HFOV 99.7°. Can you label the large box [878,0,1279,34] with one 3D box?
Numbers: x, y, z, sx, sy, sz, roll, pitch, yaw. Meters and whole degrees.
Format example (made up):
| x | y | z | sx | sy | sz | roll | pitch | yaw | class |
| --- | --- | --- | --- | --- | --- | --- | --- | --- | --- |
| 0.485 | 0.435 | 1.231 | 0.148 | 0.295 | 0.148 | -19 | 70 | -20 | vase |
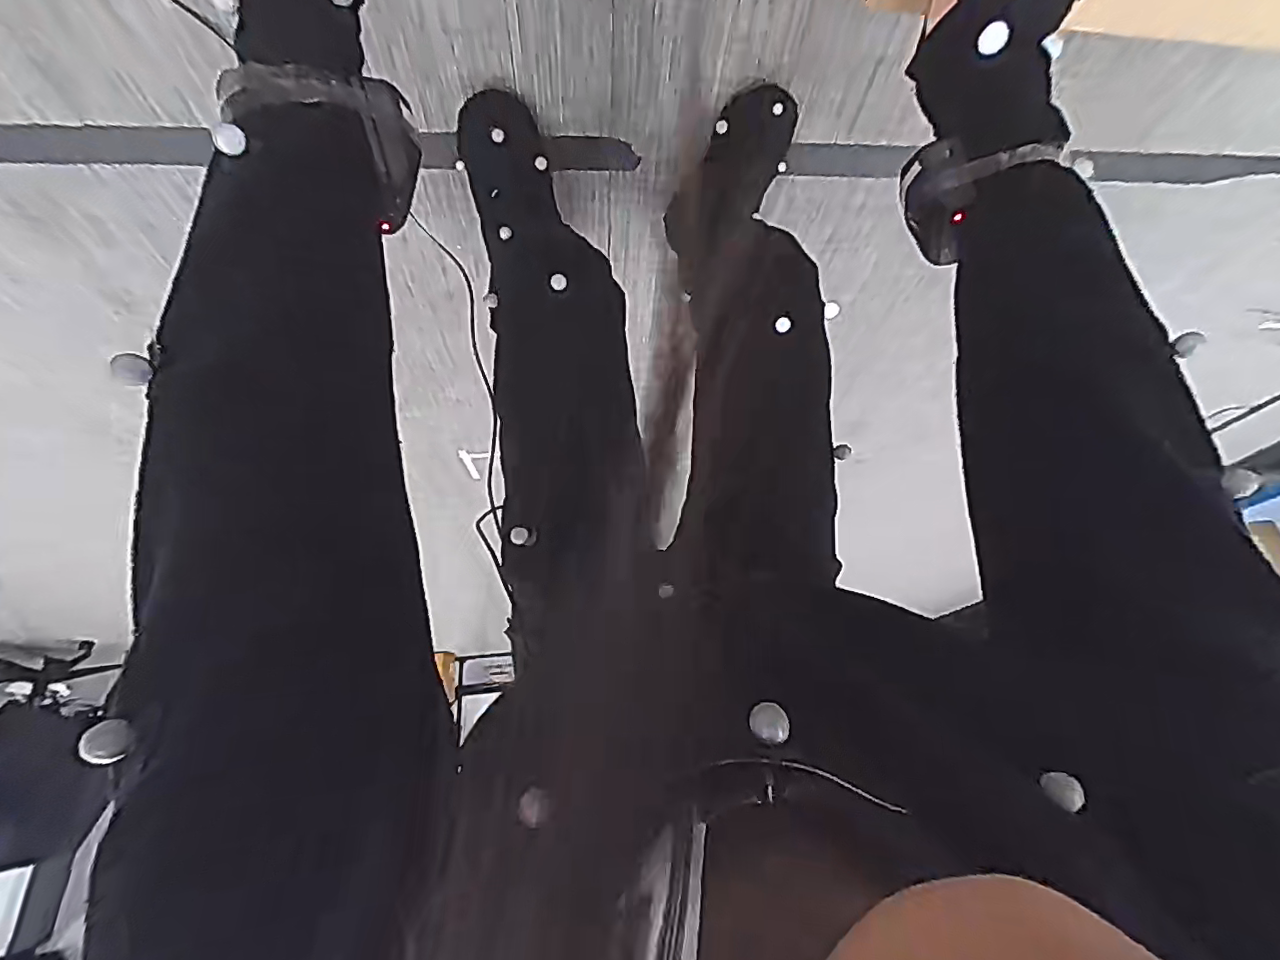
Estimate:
| x | y | z | sx | sy | sz | roll | pitch | yaw | class |
| --- | --- | --- | --- | --- | --- | --- | --- | --- | --- |
| 0.354 | -0.548 | 0.335 | 0.408 | 0.320 | 0.320 | -3 | 156 | -9 | large box |
